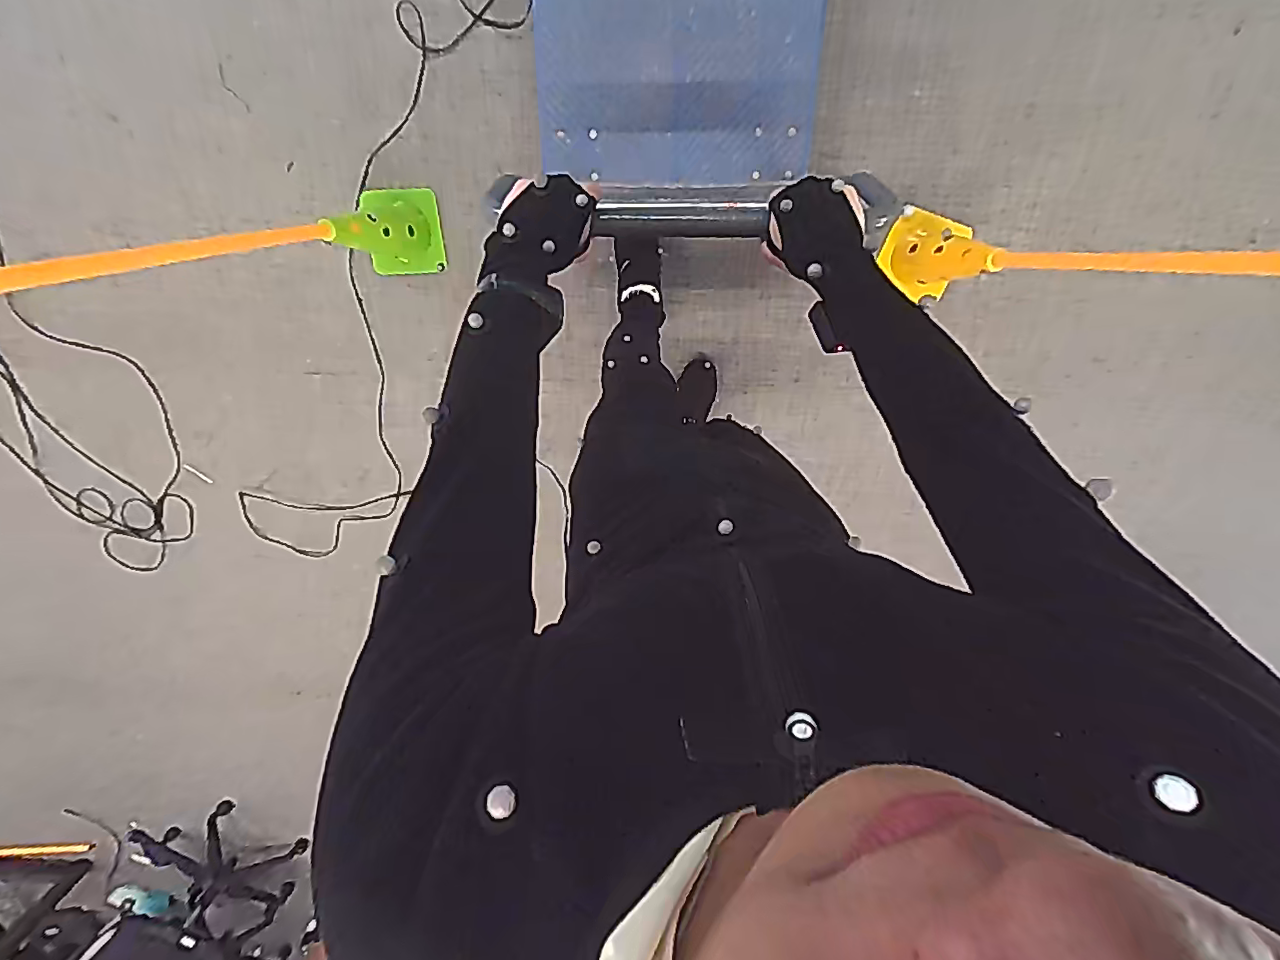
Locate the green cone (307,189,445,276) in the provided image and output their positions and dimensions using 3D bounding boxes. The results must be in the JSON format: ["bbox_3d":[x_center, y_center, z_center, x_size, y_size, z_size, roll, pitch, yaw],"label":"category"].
[{"bbox_3d":[-0.628,-0.570,1.242,0.202,0.368,0.200,-1,113,5],"label":"green cone"}]
